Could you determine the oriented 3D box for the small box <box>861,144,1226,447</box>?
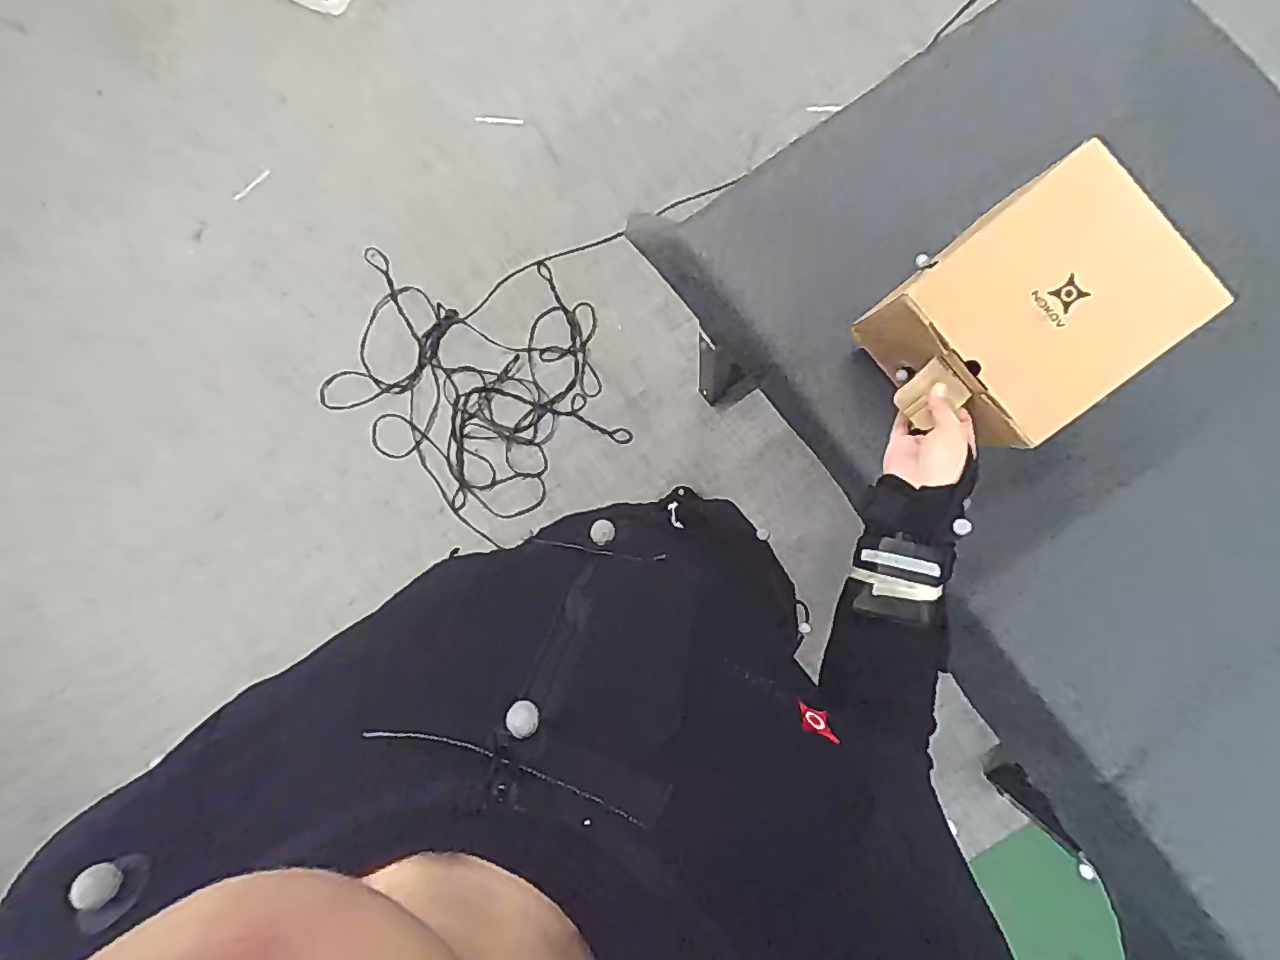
[{"bbox_3d":[0.343,-0.151,0.504,0.179,0.176,0.168,-40,91,9],"label":"small box"}]
